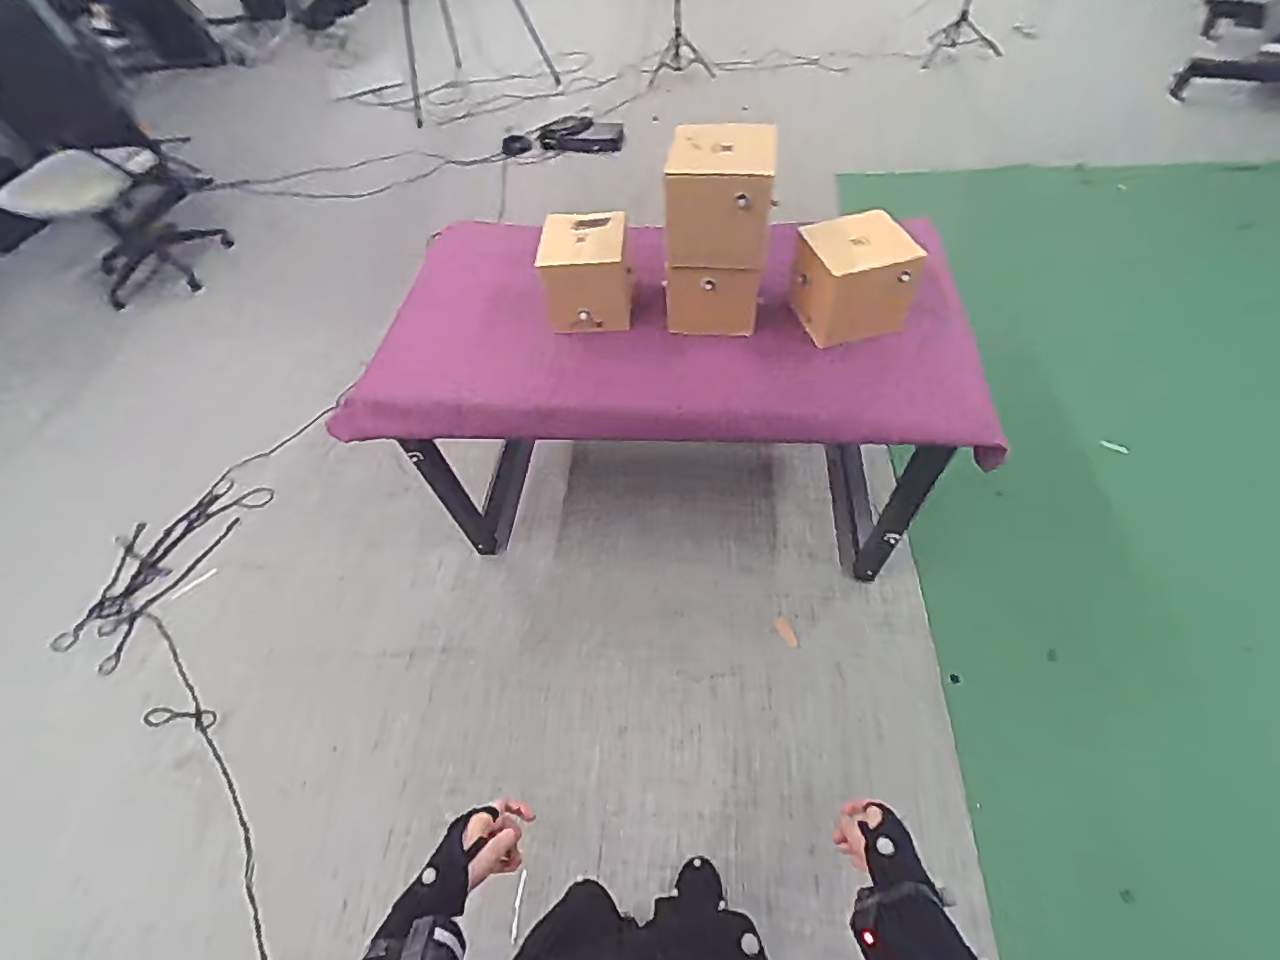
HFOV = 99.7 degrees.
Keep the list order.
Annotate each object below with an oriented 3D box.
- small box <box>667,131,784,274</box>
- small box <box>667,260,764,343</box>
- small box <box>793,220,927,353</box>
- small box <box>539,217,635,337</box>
[{"bbox_3d":[0.148,-0.483,0.949,0.179,0.176,0.168,7,56,10],"label":"small box"},{"bbox_3d":[0.155,-0.395,1.089,0.179,0.176,0.168,7,56,9],"label":"small box"},{"bbox_3d":[0.410,-0.370,1.050,0.179,0.176,0.168,-13,54,-4],"label":"small box"},{"bbox_3d":[-0.101,-0.421,1.126,0.168,0.176,0.179,0,55,5],"label":"small box"}]
